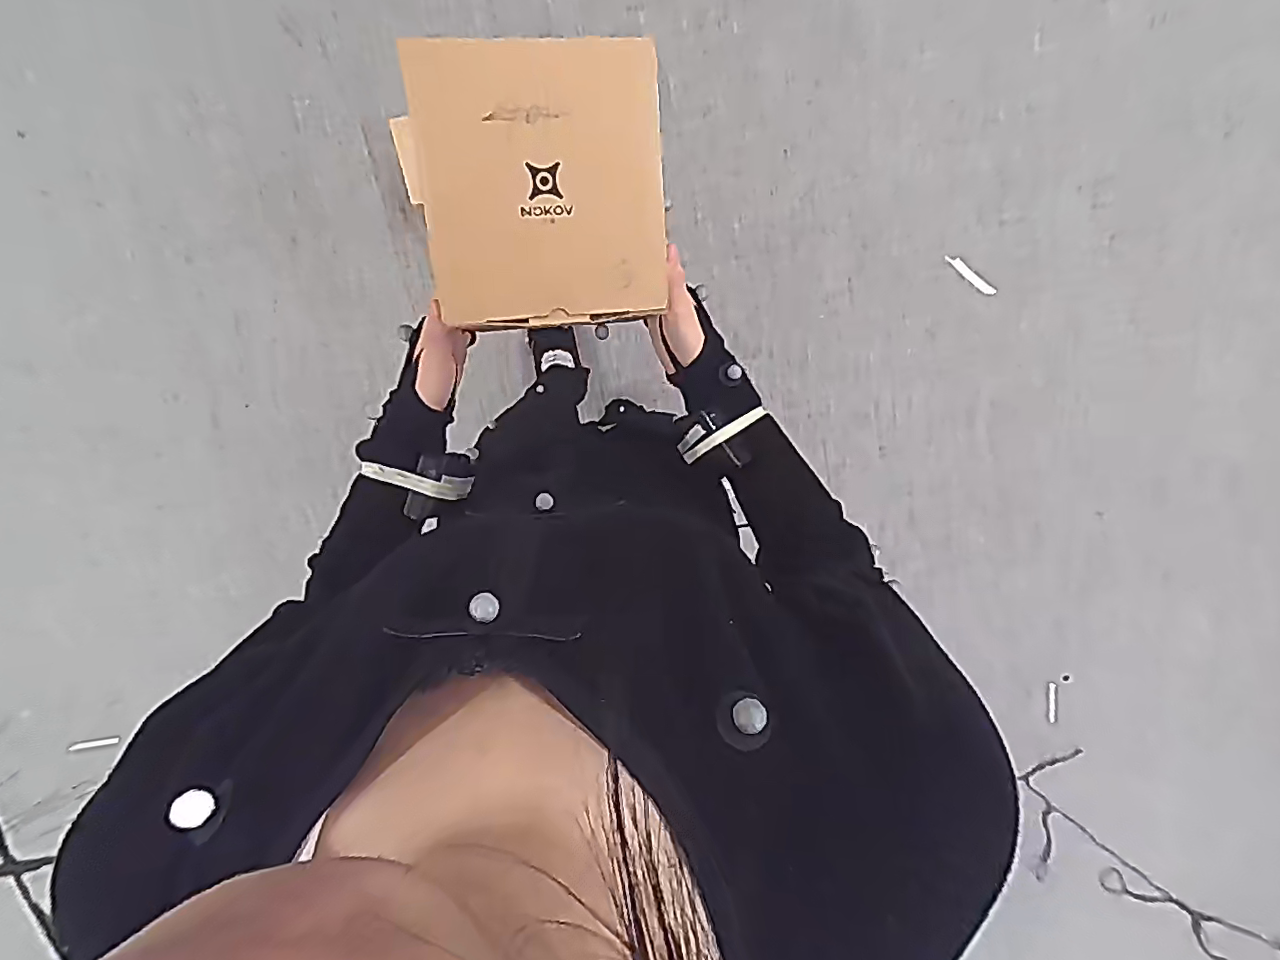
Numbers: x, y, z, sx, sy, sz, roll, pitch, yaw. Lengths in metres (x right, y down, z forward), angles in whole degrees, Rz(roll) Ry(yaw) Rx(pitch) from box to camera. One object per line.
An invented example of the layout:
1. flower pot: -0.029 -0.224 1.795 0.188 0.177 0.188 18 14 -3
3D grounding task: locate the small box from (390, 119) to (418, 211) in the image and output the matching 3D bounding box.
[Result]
1. small box: -0.439 -0.714 1.245 0.168 0.176 0.179 -12 102 1

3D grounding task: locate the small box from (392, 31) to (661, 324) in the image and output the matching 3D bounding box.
1. small box: -0.080 -0.222 0.444 0.168 0.176 0.179 -7 104 -8
